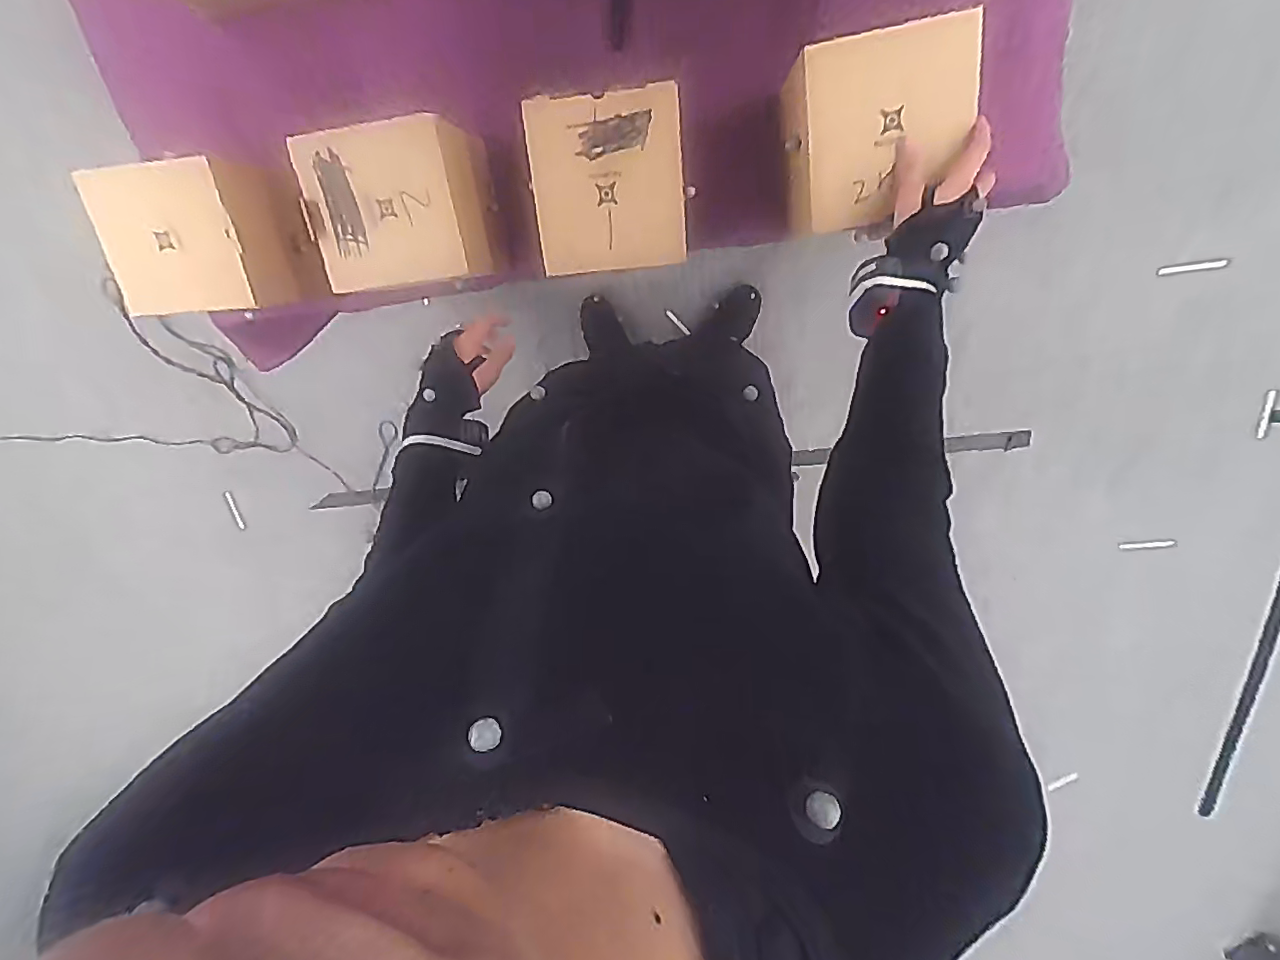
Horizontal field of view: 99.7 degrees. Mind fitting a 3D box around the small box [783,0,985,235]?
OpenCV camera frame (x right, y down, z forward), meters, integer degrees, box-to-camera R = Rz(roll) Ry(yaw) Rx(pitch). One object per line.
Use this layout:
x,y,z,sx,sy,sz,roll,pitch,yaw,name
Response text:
0.263,-0.390,0.619,0.168,0.176,0.179,-7,112,9,small box
